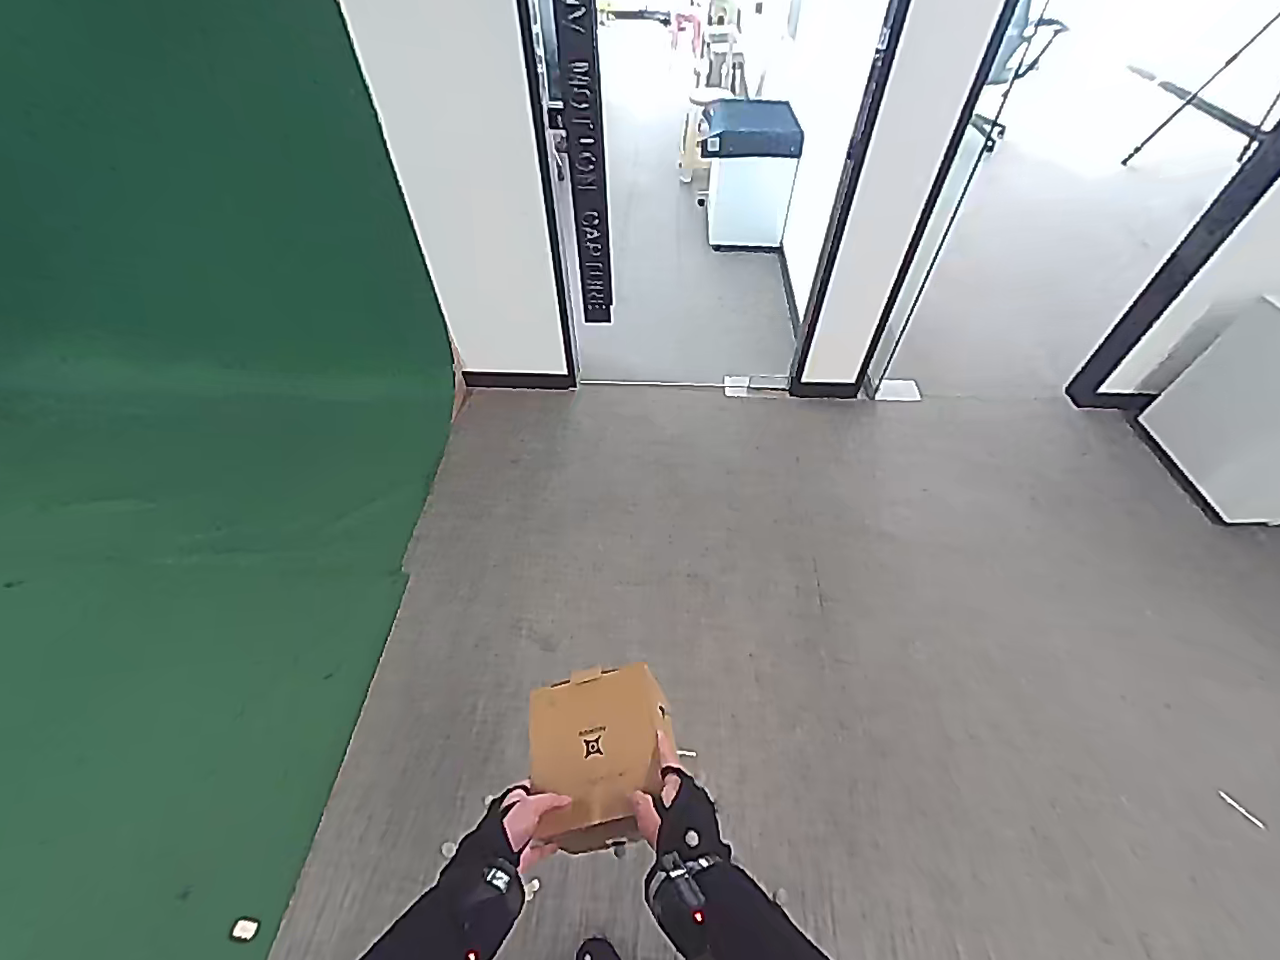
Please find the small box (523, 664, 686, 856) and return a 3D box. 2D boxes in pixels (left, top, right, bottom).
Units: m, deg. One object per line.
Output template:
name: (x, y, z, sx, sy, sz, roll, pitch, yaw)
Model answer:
small box: (-0.044, 0.374, 0.718, 0.168, 0.176, 0.179, -15, 48, 6)
